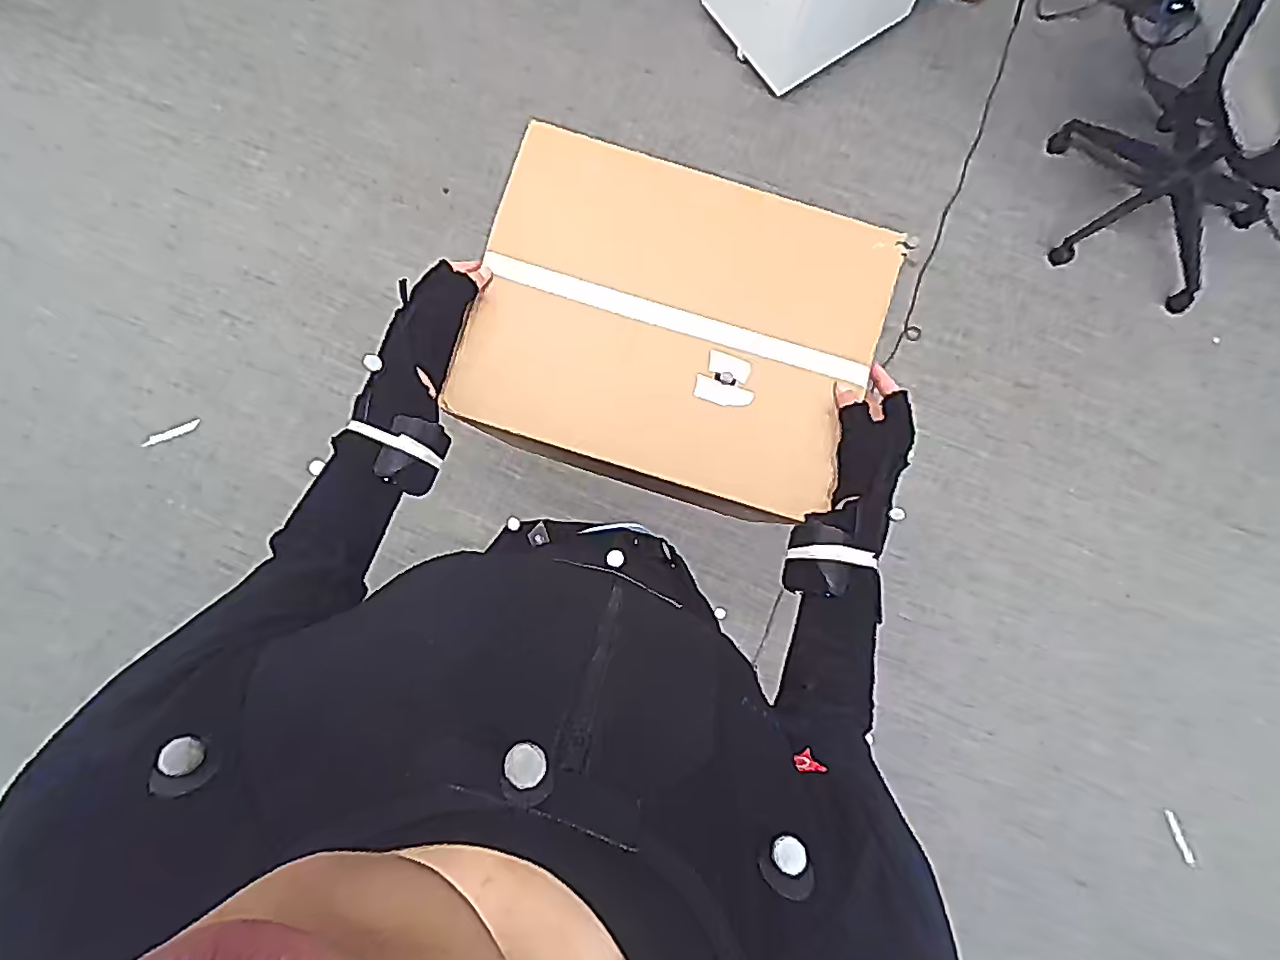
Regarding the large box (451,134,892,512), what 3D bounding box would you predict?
[{"bbox_3d":[0.032,-0.159,0.710,0.408,0.320,0.320,17,88,0],"label":"large box"}]
